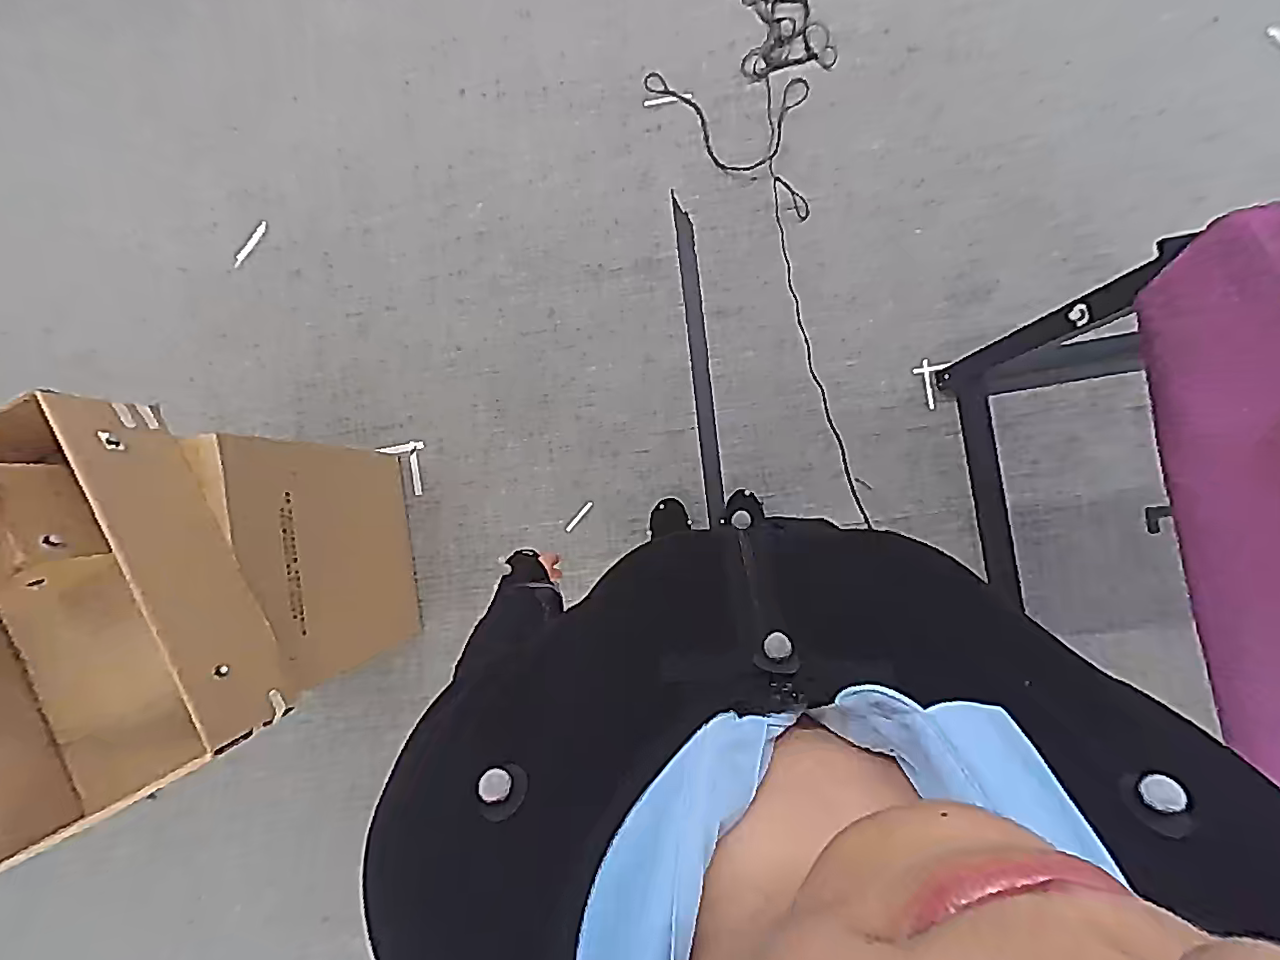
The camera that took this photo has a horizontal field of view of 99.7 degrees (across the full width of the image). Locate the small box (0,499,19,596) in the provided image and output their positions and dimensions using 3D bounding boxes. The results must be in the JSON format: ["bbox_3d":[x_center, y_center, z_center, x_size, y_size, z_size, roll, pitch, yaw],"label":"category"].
[{"bbox_3d":[-0.982,0.090,0.695,0.168,0.176,0.179,-15,89,4],"label":"small box"}]
